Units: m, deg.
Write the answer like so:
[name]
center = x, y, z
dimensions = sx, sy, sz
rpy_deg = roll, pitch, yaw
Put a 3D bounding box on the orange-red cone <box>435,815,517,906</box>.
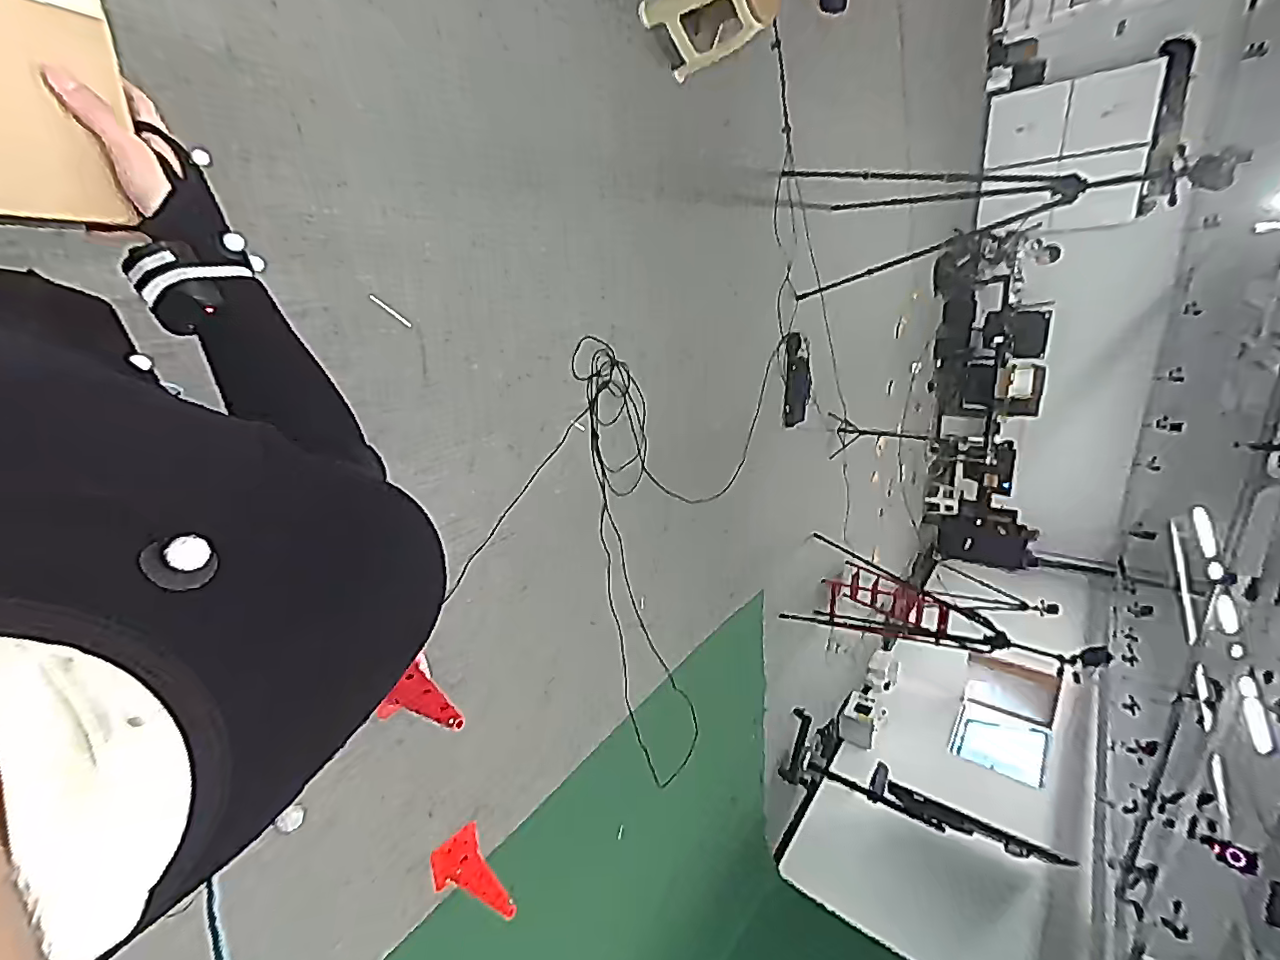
[orange-red cone]
center = -0.600, 1.505, 2.075
dimensions = 0.199, 0.360, 0.198
rpy_deg = -19, 114, -50
